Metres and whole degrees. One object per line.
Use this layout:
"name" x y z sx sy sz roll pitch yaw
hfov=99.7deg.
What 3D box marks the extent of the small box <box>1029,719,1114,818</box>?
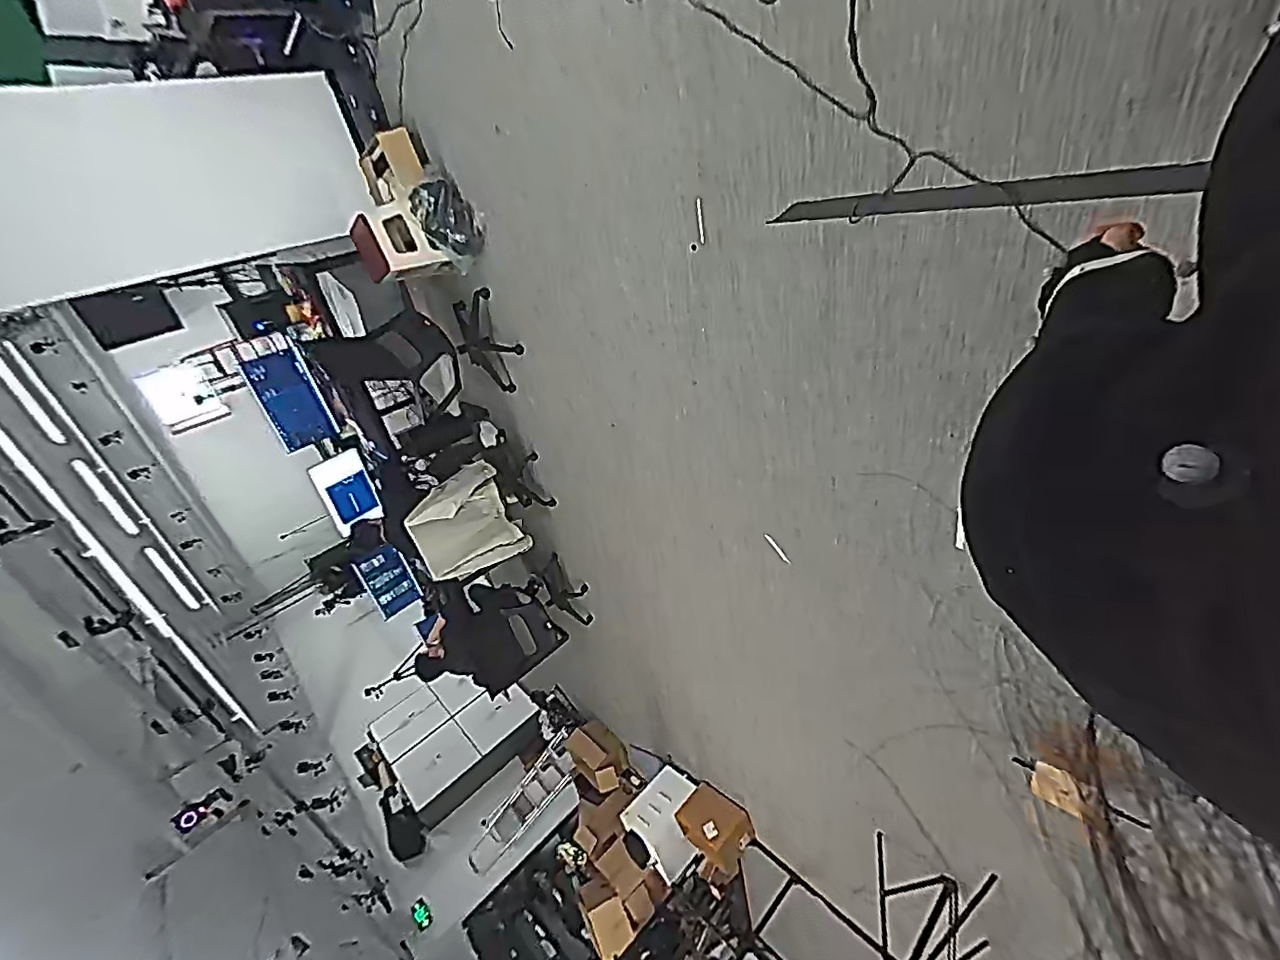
"small box" 1.346 0.892 1.687 0.168 0.176 0.179 19 134 46
